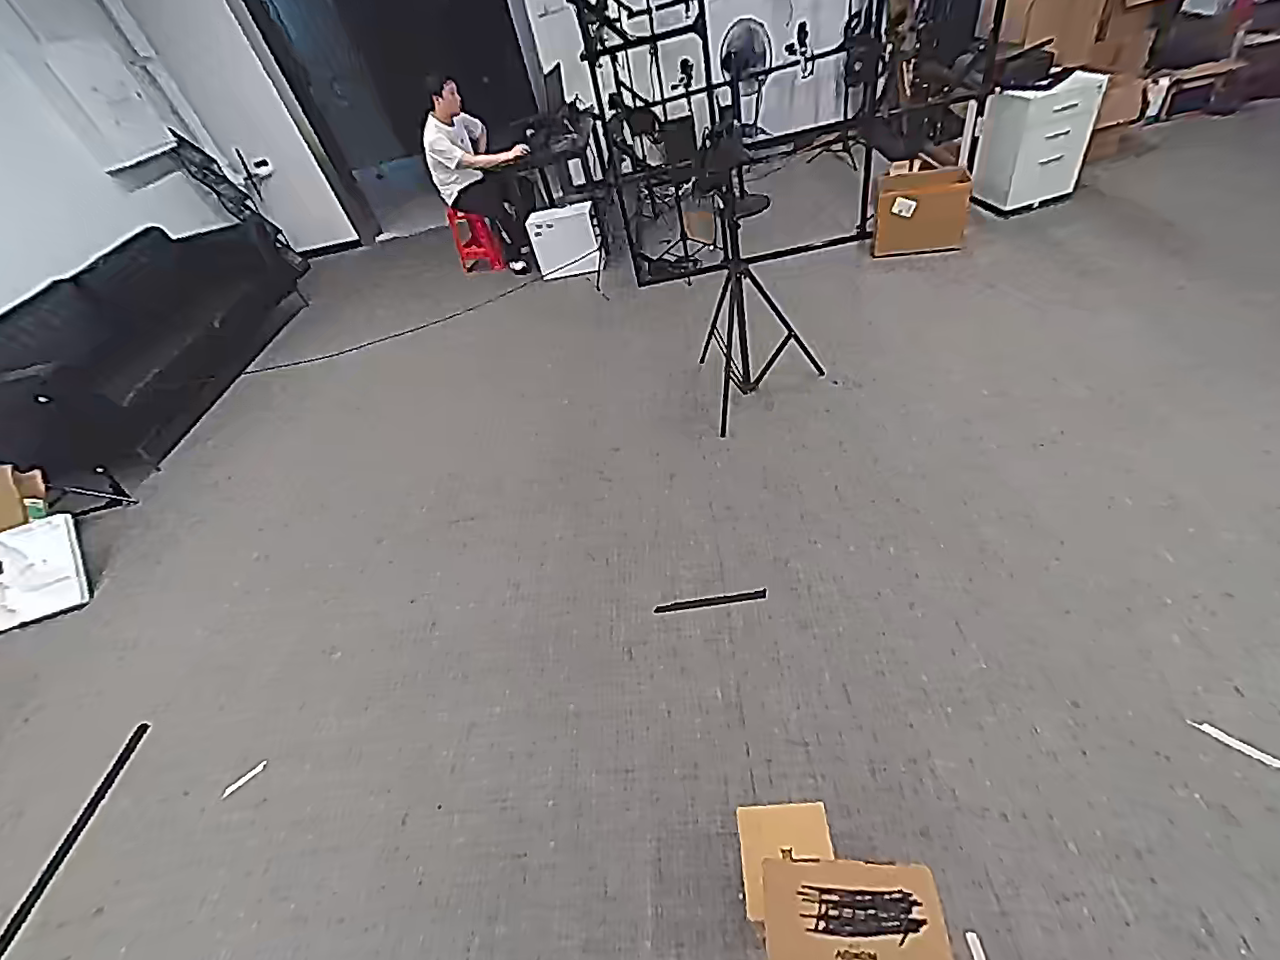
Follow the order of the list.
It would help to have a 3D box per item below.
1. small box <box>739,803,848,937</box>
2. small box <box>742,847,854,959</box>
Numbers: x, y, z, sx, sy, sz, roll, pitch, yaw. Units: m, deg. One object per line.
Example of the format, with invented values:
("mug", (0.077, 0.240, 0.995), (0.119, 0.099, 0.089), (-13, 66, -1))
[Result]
("small box", (0.282, 0.735, 1.018), (0.168, 0.176, 0.179), (-9, 43, 8))
("small box", (0.322, 0.854, 1.122), (0.168, 0.176, 0.179), (-18, 43, 0))
